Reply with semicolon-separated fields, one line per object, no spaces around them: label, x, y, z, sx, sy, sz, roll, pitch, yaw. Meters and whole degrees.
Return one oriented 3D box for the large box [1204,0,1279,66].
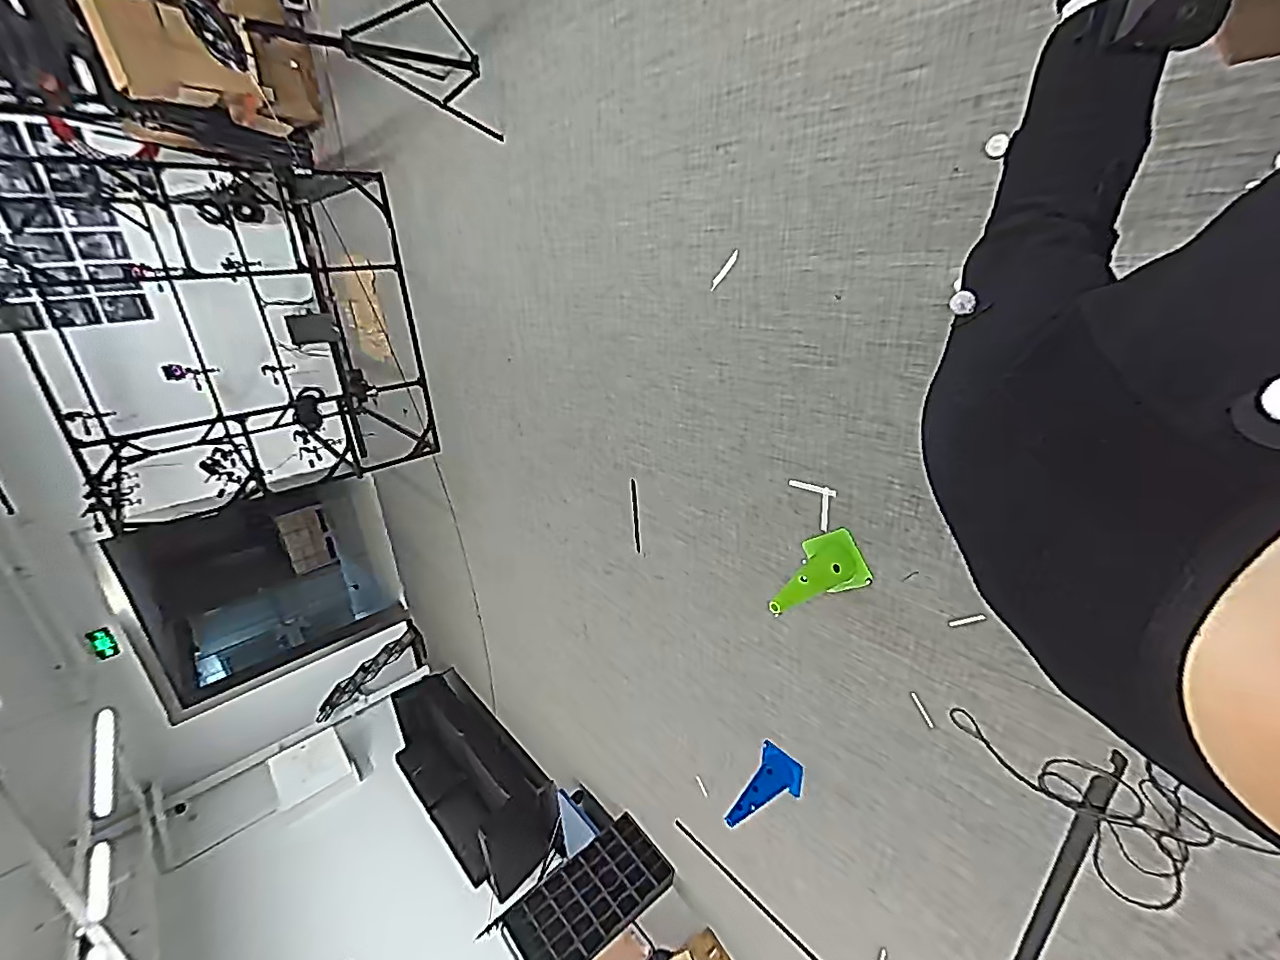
large box;0.564;-0.443;0.228;0.408;0.320;0.320;18;122;44

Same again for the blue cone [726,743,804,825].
blue cone;0.505;1.313;2.266;0.192;0.380;0.193;26;126;44

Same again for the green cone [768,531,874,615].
green cone;0.535;0.327;1.711;0.202;0.368;0.200;-36;77;54
